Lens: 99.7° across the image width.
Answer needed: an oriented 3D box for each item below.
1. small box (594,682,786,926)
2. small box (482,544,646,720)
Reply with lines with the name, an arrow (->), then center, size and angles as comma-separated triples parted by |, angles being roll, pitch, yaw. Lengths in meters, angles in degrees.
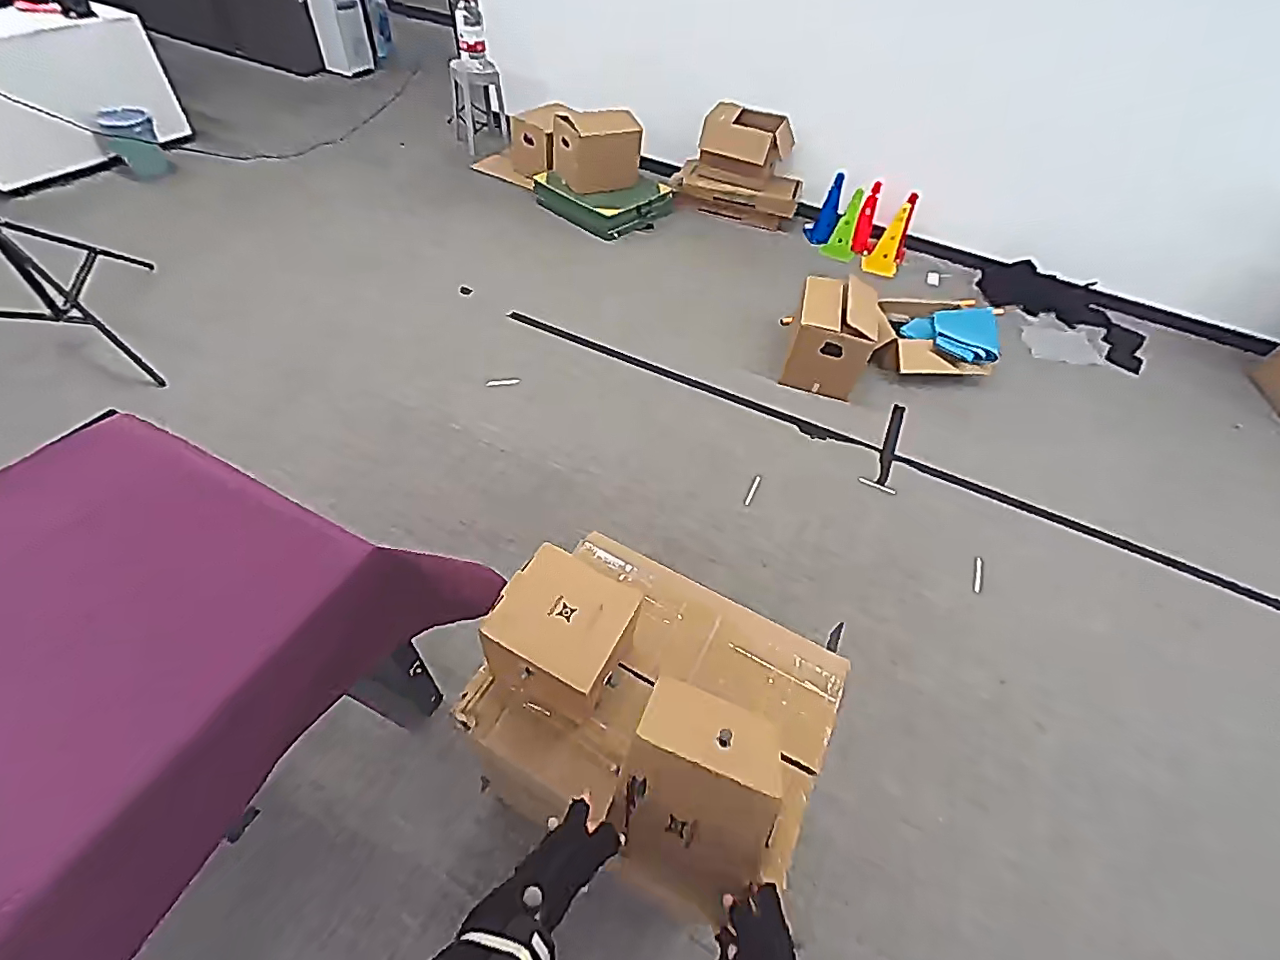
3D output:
small box -> 0.067, 0.384, 0.677 | 0.179, 0.168, 0.176 | 19, 8, 10
small box -> -0.111, 0.234, 0.819 | 0.179, 0.176, 0.168 | 25, 54, 12
